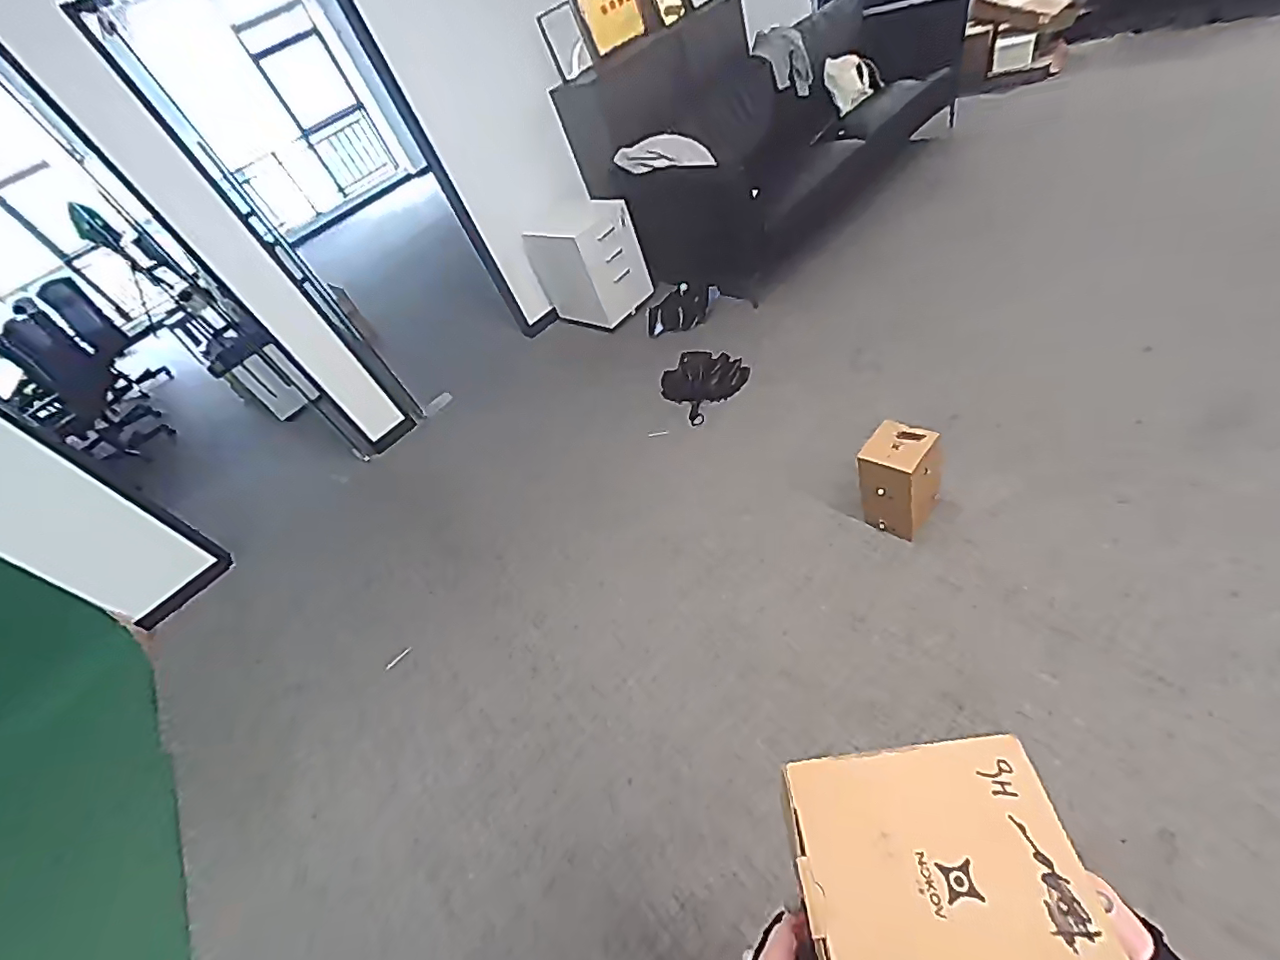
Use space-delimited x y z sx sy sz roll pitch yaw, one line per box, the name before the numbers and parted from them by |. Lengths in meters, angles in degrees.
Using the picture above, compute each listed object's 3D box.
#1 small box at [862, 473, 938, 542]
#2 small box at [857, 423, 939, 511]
small box | 0.841 0.067 1.750 0.168 0.176 0.179 25 63 42
small box | 0.780 -0.039 1.640 0.168 0.176 0.179 25 62 42
